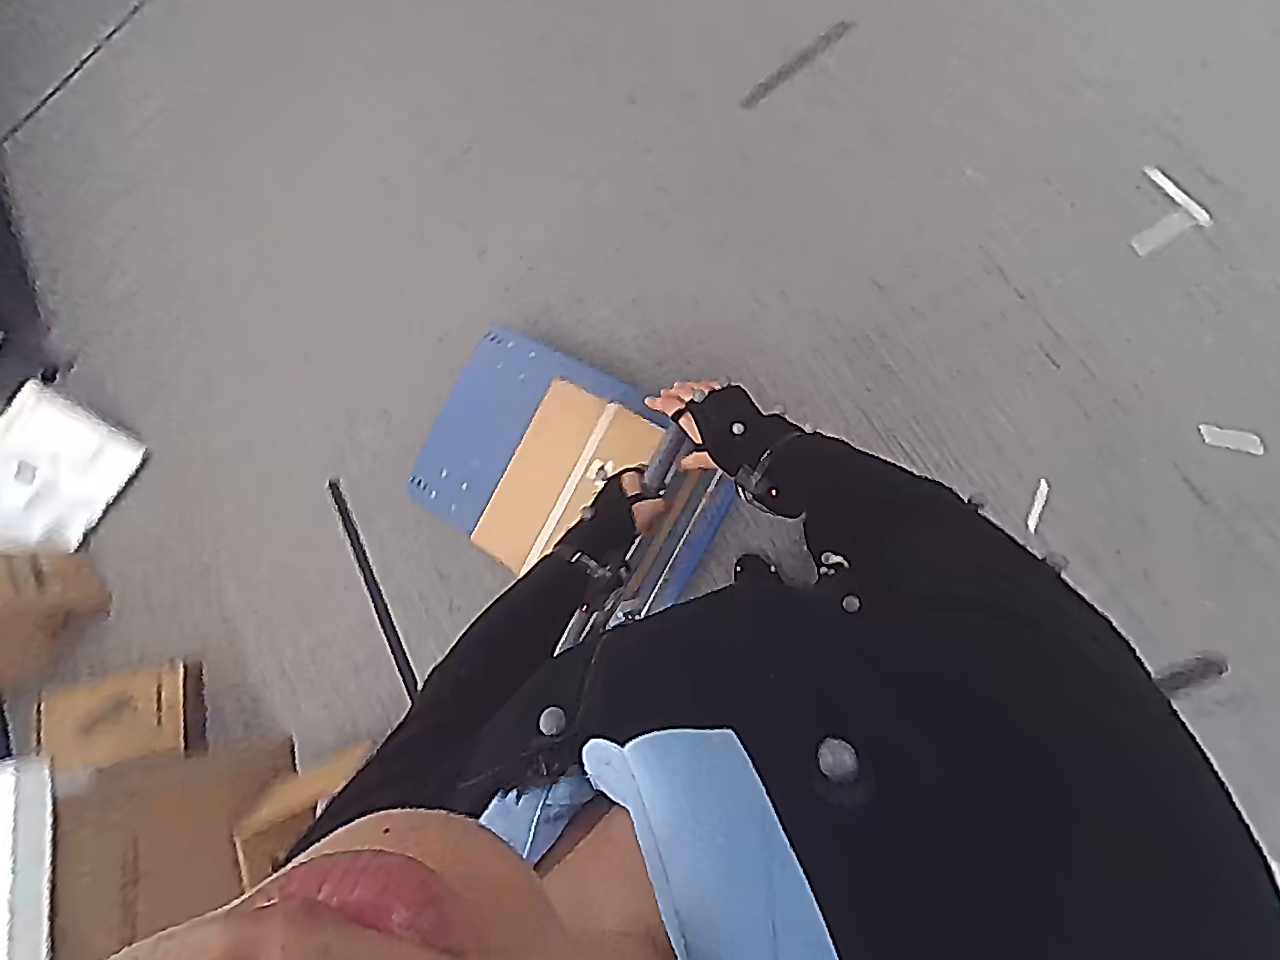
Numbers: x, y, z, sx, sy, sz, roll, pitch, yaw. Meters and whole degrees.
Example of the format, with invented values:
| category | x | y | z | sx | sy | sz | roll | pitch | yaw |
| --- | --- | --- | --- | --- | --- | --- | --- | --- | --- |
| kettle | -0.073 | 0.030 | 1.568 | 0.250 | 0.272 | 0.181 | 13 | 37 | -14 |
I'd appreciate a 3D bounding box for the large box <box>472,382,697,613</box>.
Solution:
| category | x | y | z | sx | sy | sz | roll | pitch | yaw |
| --- | --- | --- | --- | --- | --- | --- | --- | --- | --- |
| large box | -0.110 | 0.050 | 1.263 | 0.320 | 0.320 | 0.408 | 28 | 91 | 17 |
